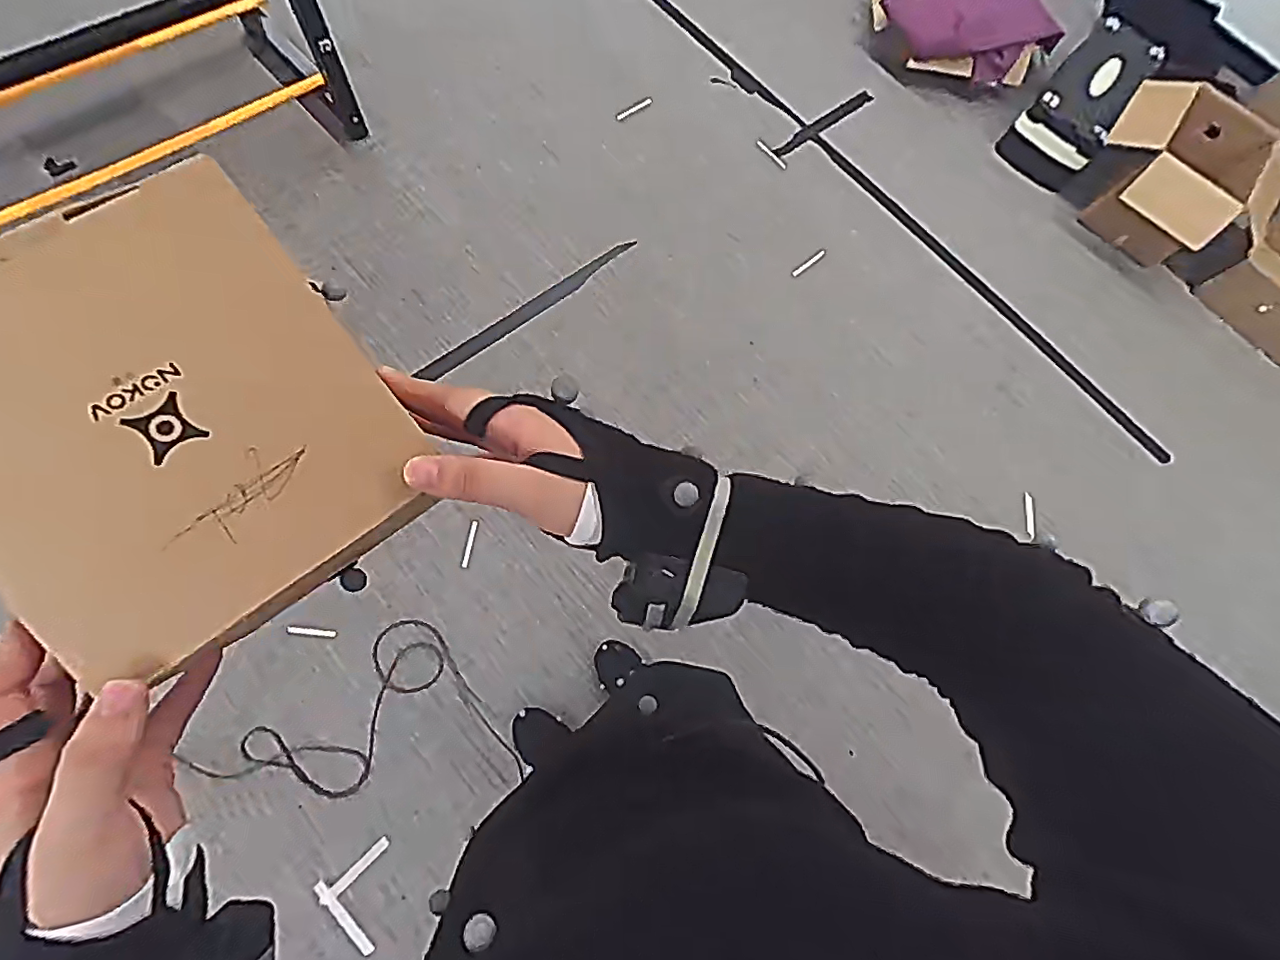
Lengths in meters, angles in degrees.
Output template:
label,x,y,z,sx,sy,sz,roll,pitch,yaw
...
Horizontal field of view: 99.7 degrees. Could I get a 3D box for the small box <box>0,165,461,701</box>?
label,x,y,z,sx,sy,sz,roll,pitch,yaw
small box,-0.222,-0.020,0.304,0.168,0.176,0.179,-38,98,-14
